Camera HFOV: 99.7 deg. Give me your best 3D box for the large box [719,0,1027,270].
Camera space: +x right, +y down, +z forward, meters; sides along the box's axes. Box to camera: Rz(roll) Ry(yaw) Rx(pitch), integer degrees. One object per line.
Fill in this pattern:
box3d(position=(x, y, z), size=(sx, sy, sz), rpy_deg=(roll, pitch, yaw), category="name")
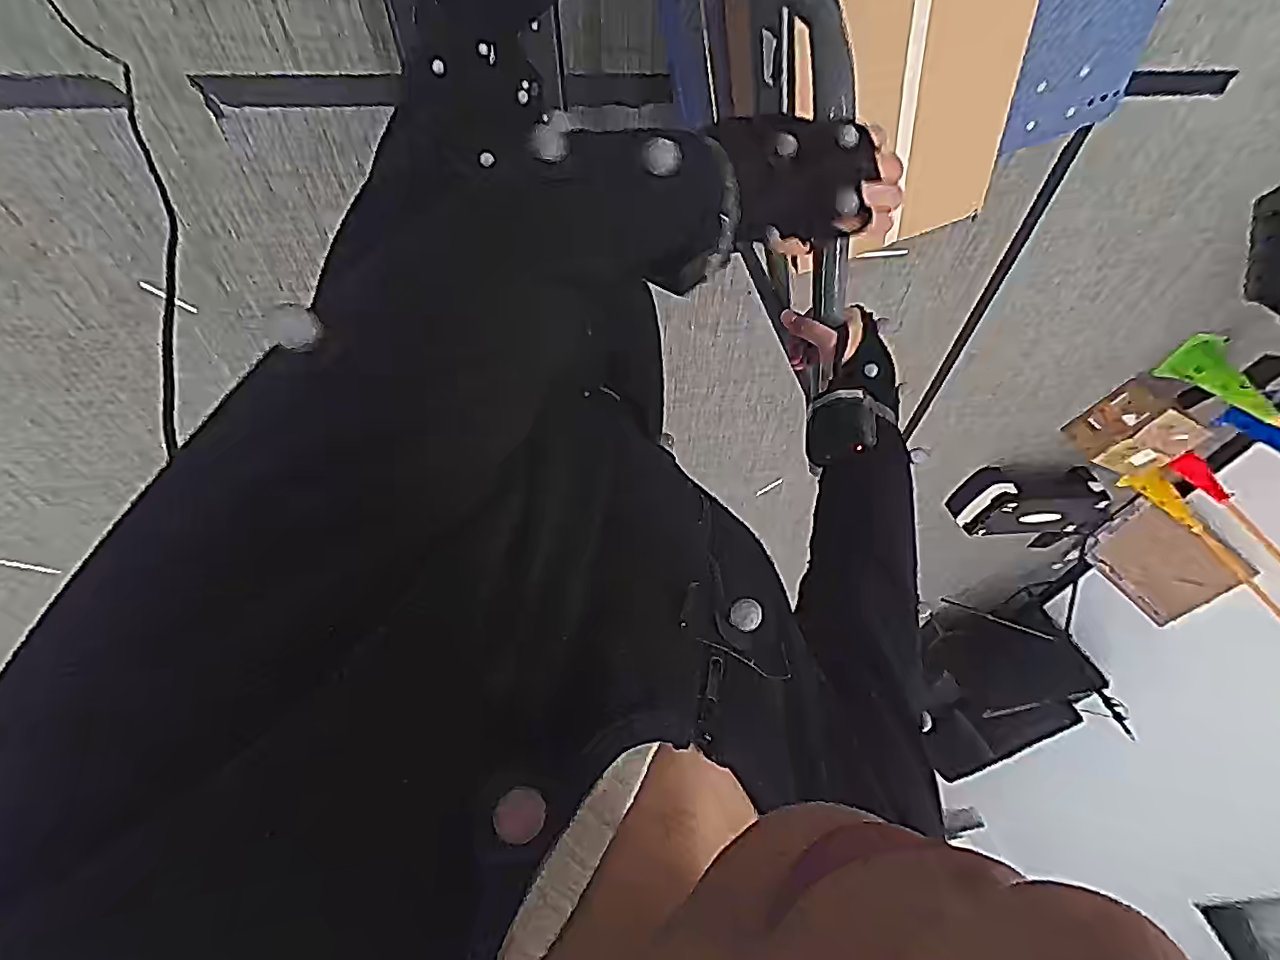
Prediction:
box3d(position=(0.327, -0.624, 0.835), size=(0.320, 0.320, 0.408), rpy_deg=(-17, 143, 4), category="large box")
